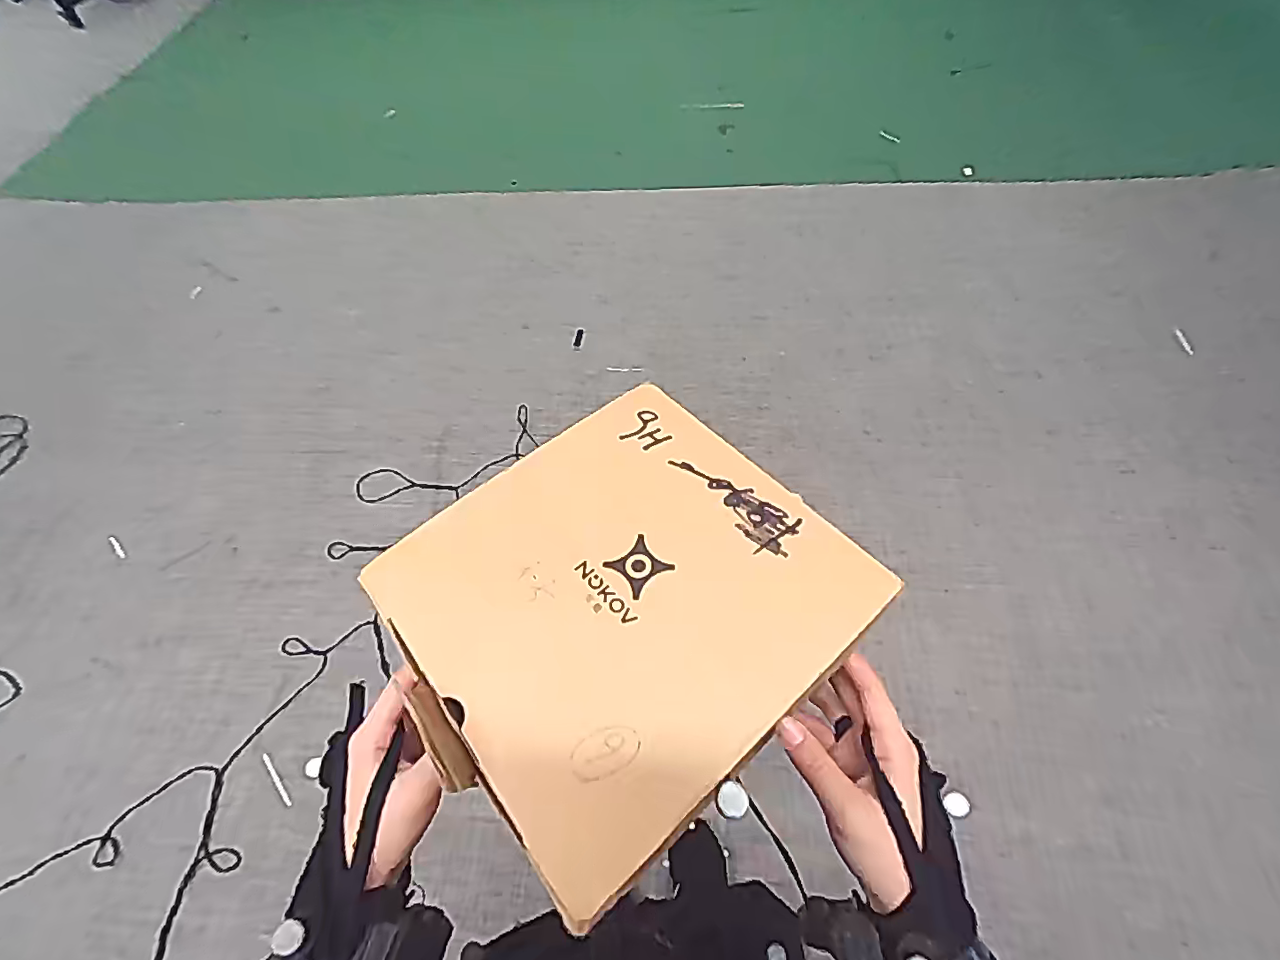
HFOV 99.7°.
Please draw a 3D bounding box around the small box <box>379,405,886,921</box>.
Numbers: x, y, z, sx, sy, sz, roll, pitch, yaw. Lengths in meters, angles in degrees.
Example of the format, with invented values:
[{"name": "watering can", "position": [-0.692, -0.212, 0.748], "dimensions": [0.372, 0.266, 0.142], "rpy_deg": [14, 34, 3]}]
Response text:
[{"name": "small box", "position": [-0.002, 0.098, 0.310], "dimensions": [0.179, 0.176, 0.168], "rpy_deg": [-37, 61, -20]}]
